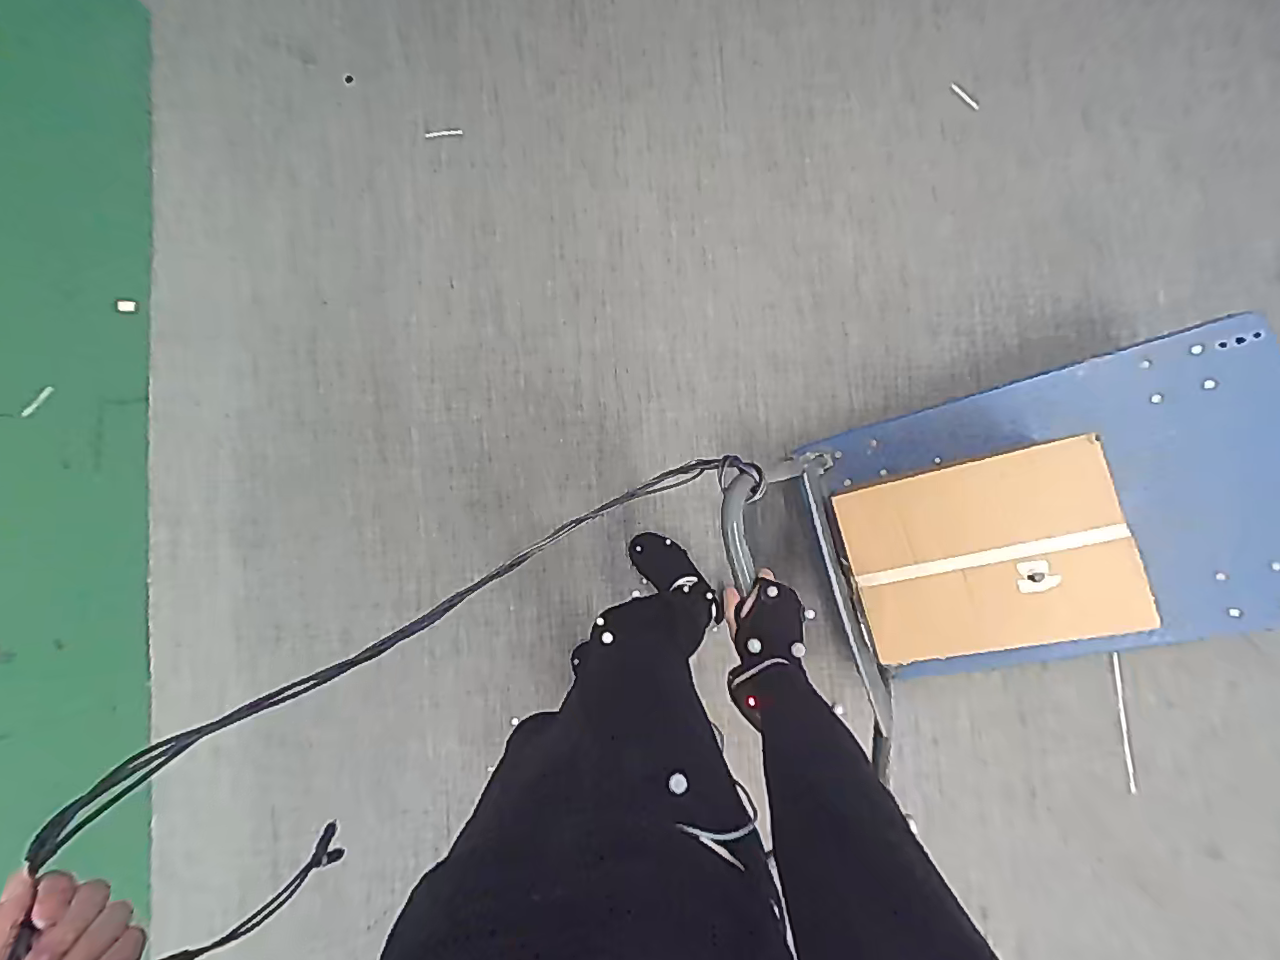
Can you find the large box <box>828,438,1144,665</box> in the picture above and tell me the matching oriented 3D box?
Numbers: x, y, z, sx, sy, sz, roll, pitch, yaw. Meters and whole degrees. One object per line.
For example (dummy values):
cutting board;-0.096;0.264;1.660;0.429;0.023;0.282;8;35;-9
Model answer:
large box;0.611;0.131;1.045;0.408;0.320;0.320;-16;86;21
